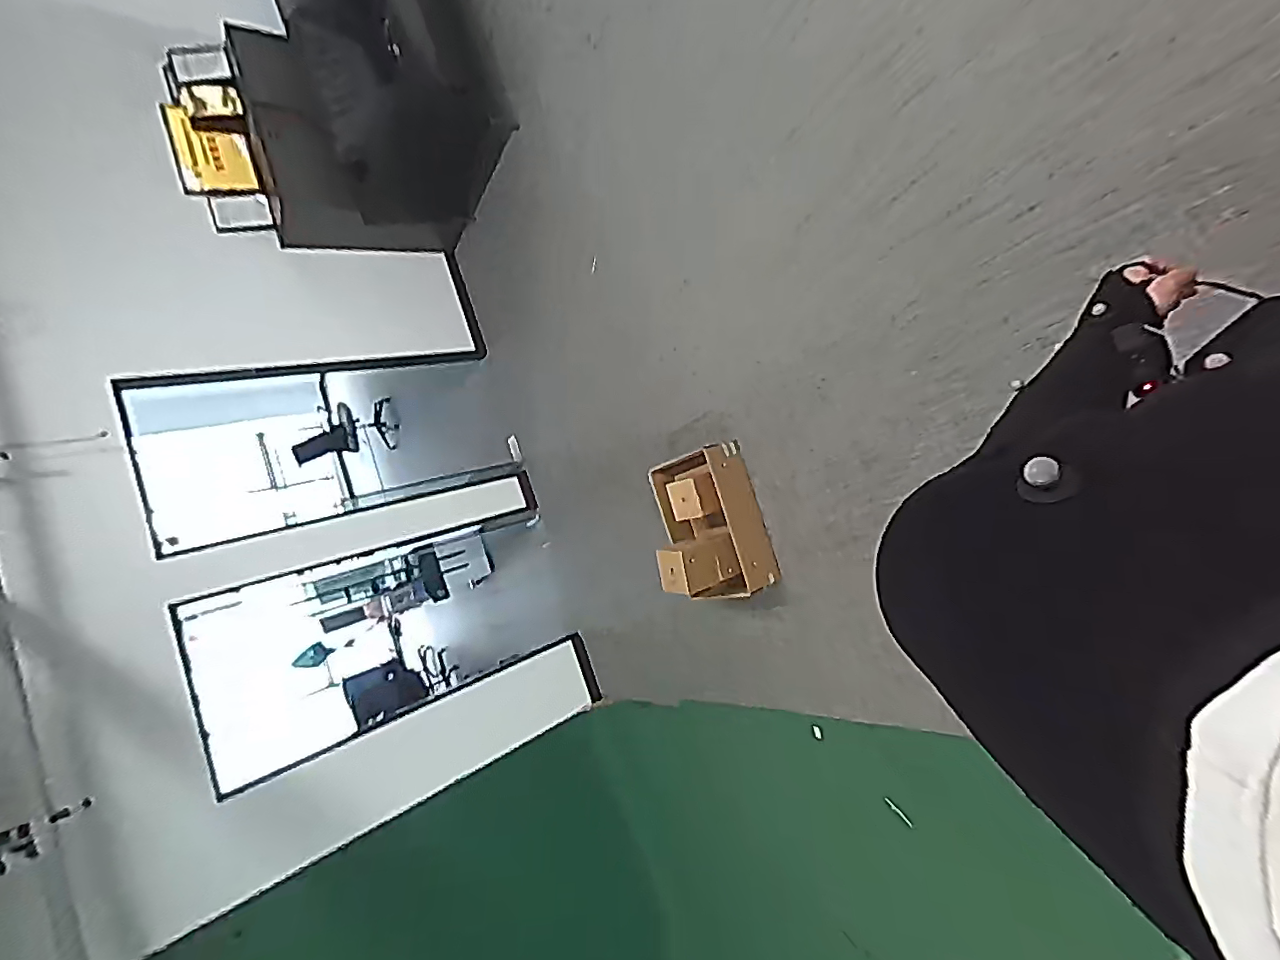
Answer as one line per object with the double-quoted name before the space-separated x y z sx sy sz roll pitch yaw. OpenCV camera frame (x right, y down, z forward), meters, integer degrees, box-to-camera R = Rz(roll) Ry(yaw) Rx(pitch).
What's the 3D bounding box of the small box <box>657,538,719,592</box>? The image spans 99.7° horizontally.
"small box" 0.197 0.336 2.187 0.168 0.176 0.179 -6 97 54
